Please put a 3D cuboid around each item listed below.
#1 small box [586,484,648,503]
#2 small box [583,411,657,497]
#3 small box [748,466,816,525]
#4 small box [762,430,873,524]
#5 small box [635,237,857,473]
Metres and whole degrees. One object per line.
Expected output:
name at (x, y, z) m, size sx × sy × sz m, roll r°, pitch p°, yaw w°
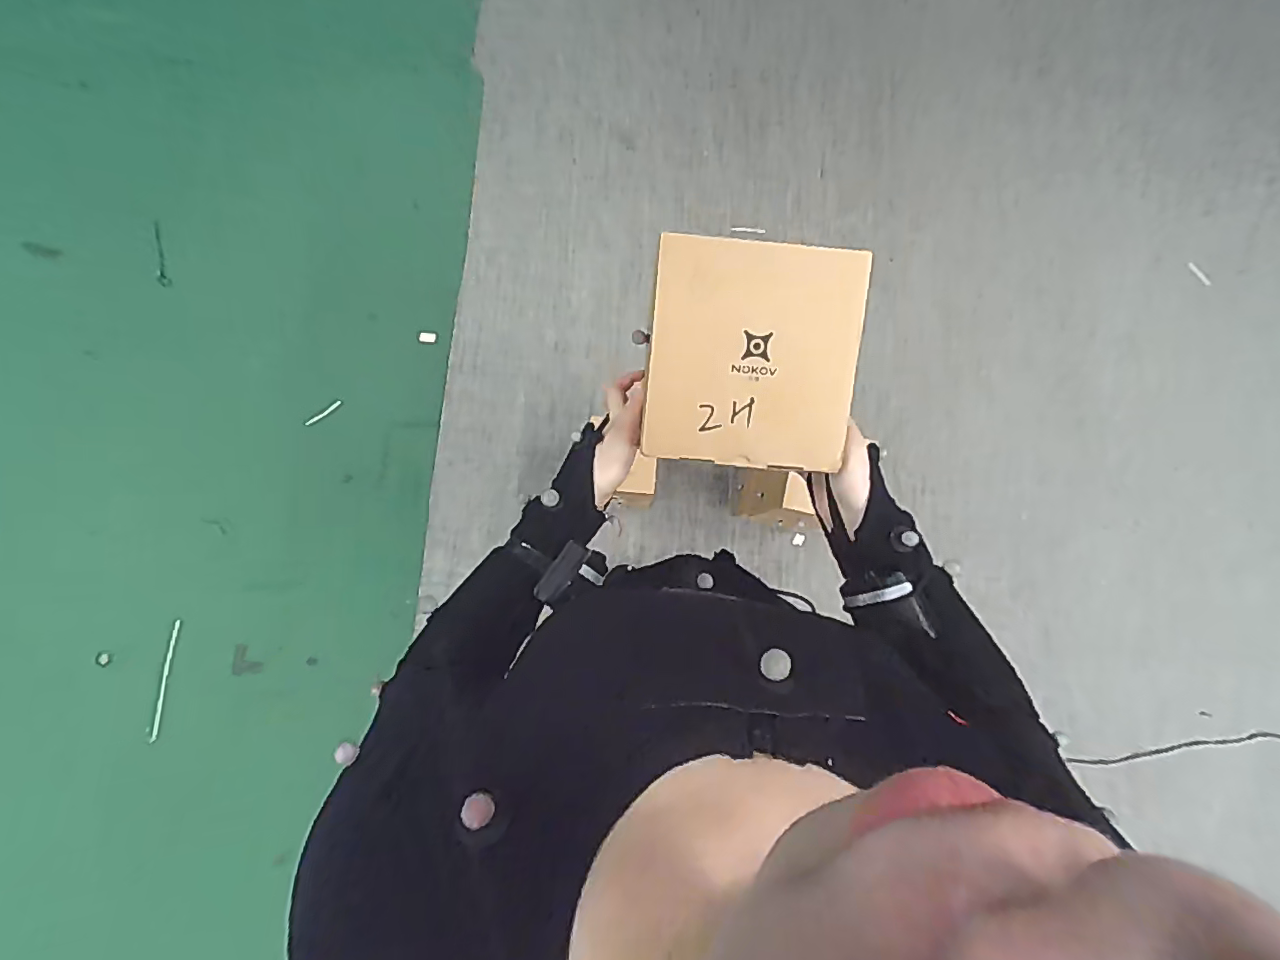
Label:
small box at (-0.047, -0.036, 1.490) m, size 0.168 × 0.176 × 0.179 m, roll 8°, pitch 83°, yaw 0°
small box at (-0.042, -0.058, 1.329) m, size 0.168 × 0.176 × 0.179 m, roll 5°, pitch 83°, yaw 1°
small box at (0.372, 0.006, 1.325) m, size 0.168 × 0.176 × 0.179 m, roll 12°, pitch 83°, yaw 1°
small box at (0.372, -0.008, 1.161) m, size 0.168 × 0.176 × 0.179 m, roll 13°, pitch 84°, yaw 1°
small box at (0.084, -0.111, 0.518) m, size 0.168 × 0.176 × 0.179 m, roll 5°, pitch 100°, yaw -1°
